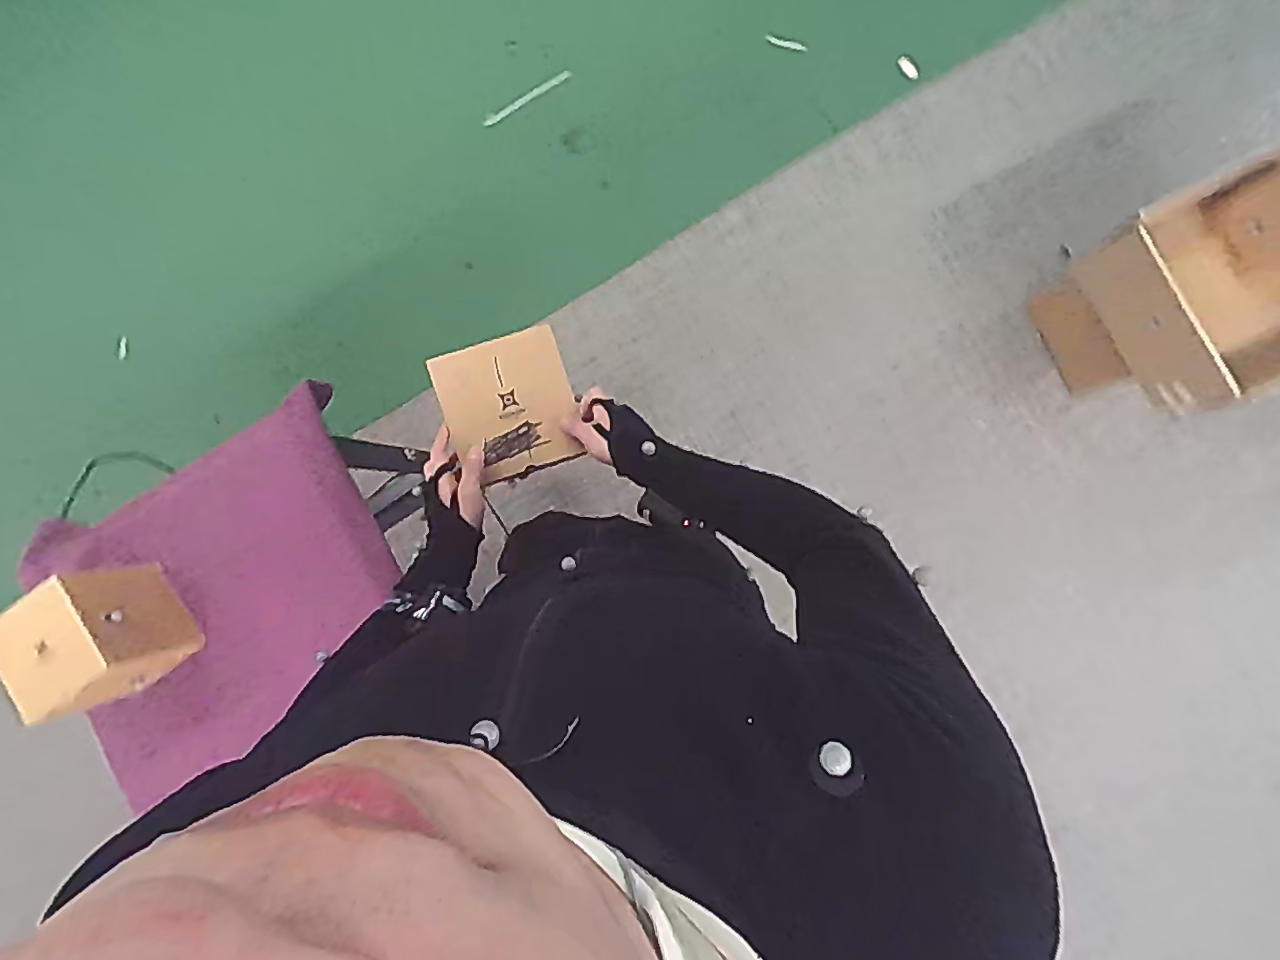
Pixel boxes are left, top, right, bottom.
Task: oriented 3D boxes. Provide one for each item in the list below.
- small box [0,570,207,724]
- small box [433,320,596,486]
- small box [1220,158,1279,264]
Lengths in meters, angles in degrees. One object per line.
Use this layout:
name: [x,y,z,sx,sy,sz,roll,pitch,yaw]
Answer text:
small box: [-0.909,0.268,0.922,0.168,0.176,0.179,-36,86,4]
small box: [-0.162,-0.103,0.765,0.168,0.176,0.179,-18,94,-3]
small box: [1.264,-0.539,1.013,0.179,0.176,0.168,-26,87,5]
